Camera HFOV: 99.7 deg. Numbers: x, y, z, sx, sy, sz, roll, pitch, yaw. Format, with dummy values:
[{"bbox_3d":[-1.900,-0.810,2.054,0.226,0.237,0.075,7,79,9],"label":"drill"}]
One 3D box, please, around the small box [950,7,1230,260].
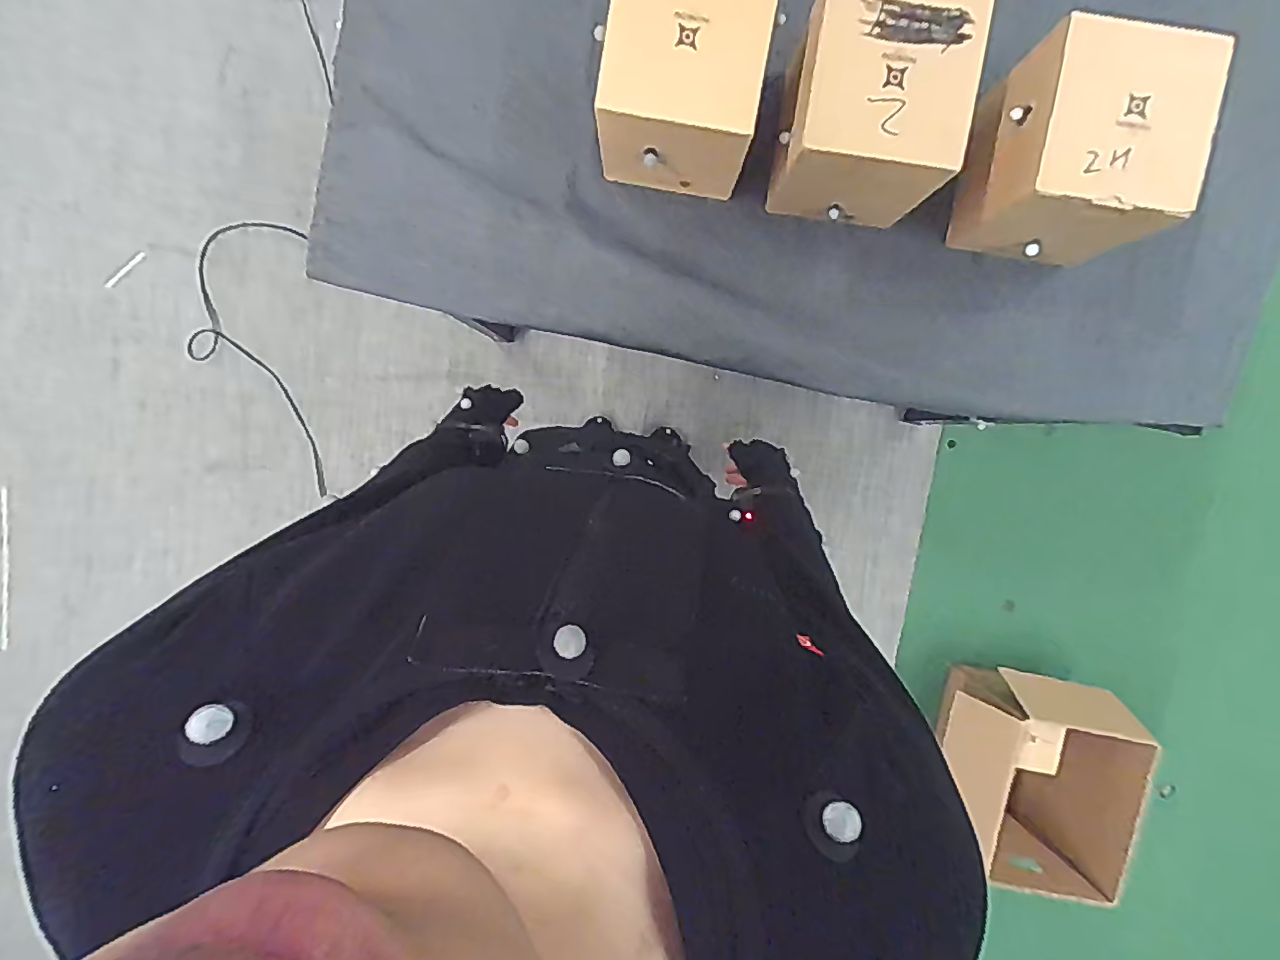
[{"bbox_3d":[0.490,-0.377,0.621,0.168,0.176,0.179,9,96,0],"label":"small box"}]
